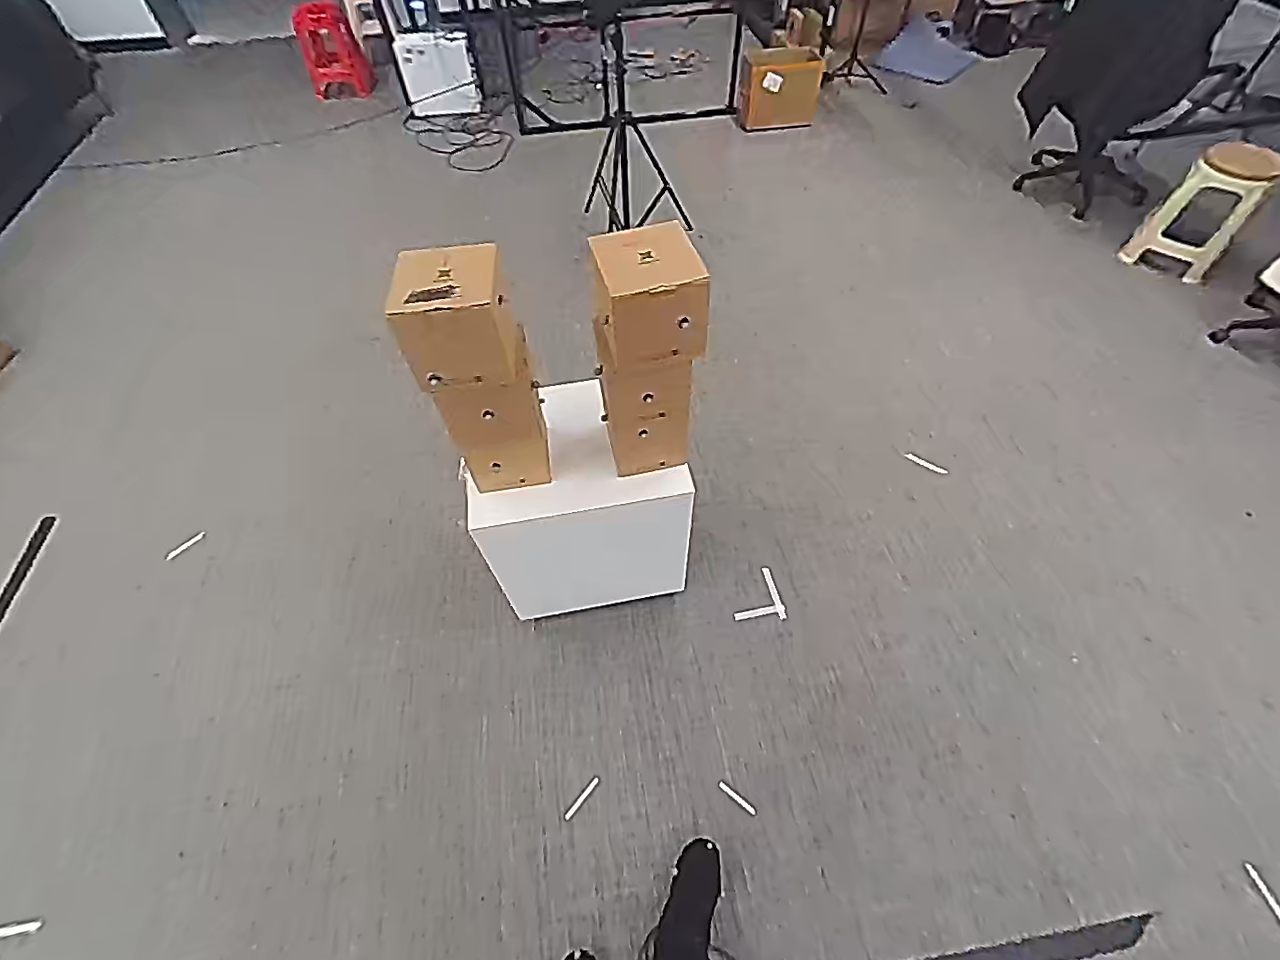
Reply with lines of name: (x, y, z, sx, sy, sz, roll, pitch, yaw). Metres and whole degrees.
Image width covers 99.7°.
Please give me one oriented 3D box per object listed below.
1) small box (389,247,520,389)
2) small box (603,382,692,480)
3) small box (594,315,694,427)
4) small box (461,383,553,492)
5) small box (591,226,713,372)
small box: (-0.307, -0.272, 0.935, 0.168, 0.176, 0.179, -6, 54, -2)
small box: (0.014, -0.127, 1.223, 0.168, 0.176, 0.179, -12, 55, -5)
small box: (0.009, -0.222, 1.088, 0.168, 0.176, 0.179, -10, 55, -5)
small box: (-0.291, -0.087, 1.208, 0.168, 0.176, 0.179, -8, 55, -5)
small box: (0.020, -0.309, 0.949, 0.168, 0.176, 0.179, -14, 55, -8)
